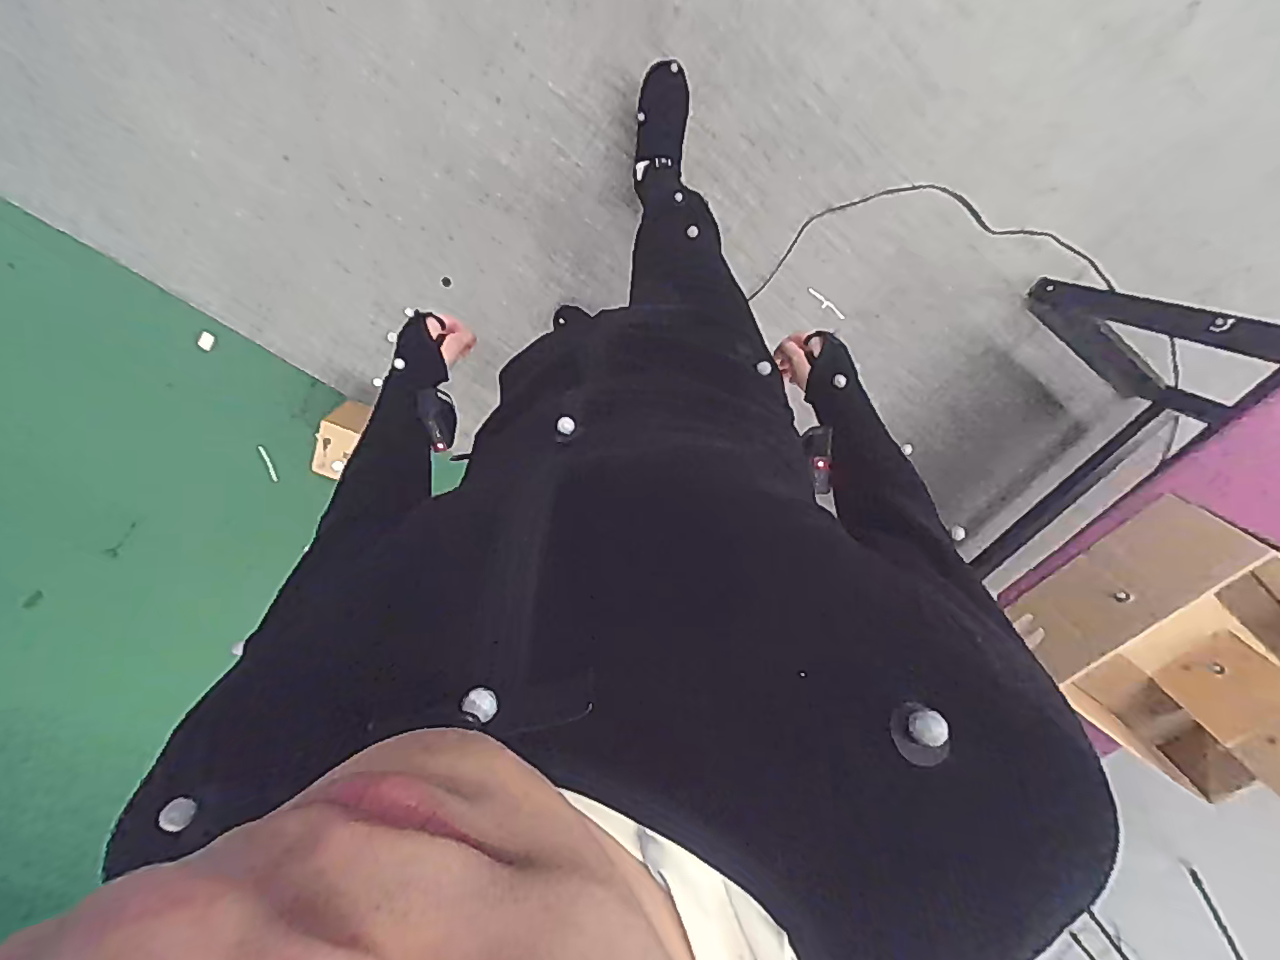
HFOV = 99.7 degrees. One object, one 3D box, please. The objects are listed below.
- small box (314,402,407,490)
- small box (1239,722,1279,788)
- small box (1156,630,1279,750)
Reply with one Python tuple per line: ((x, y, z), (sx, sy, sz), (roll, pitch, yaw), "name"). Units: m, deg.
((-0.786, -0.102, 1.535), (0.179, 0.176, 0.168), (21, 115, -14), "small box")
((1.201, 0.506, 0.913), (0.179, 0.176, 0.168), (30, 114, -17), "small box")
((1.190, 0.425, 1.055), (0.179, 0.176, 0.168), (31, 113, -16), "small box")
